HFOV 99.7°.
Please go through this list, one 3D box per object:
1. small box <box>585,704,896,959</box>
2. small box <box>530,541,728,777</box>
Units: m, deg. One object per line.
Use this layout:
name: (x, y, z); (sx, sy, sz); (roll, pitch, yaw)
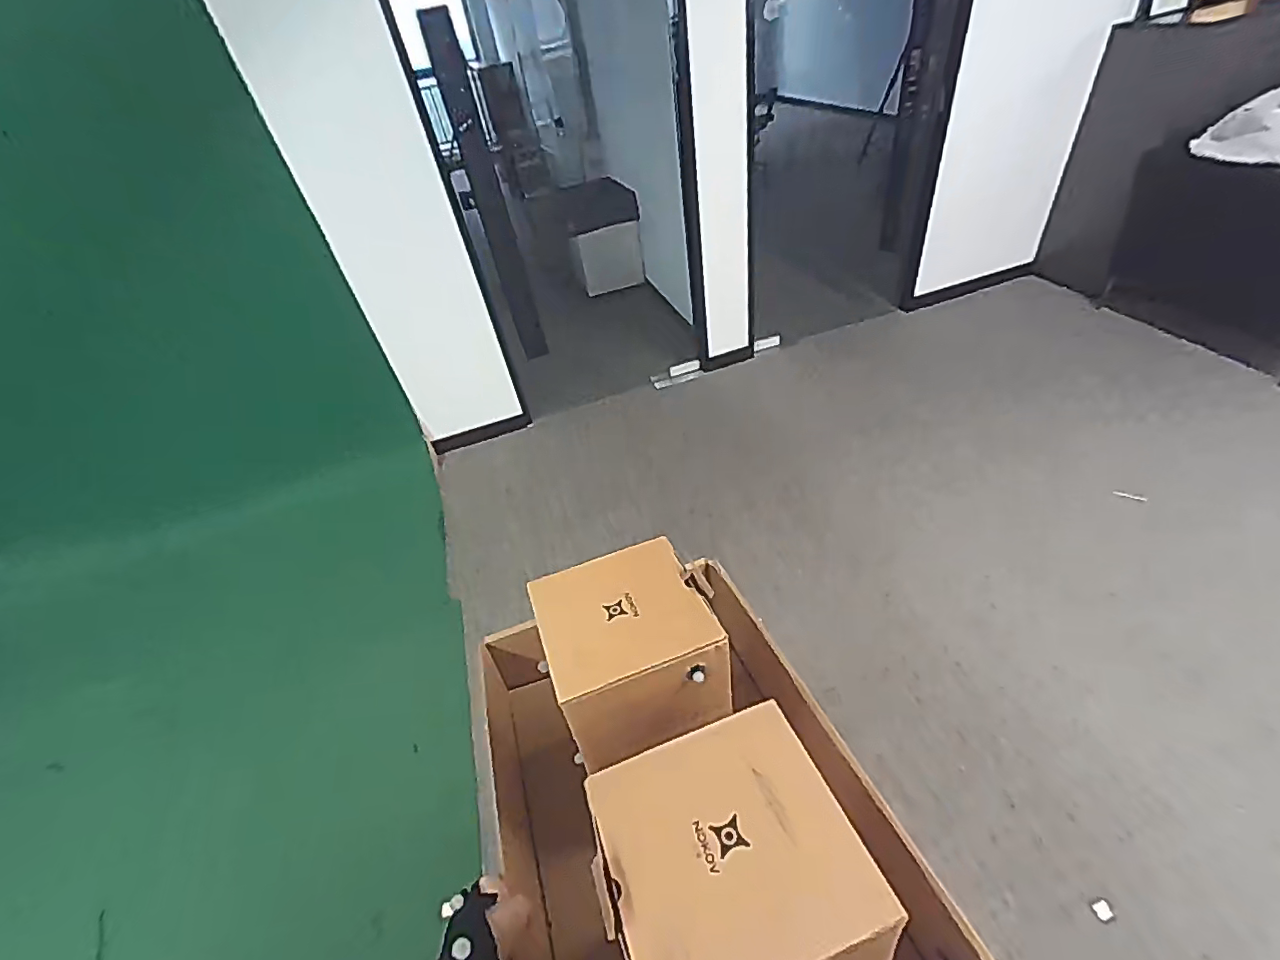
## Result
small box: (0.072, 0.325, 0.436); (0.179, 0.176, 0.168); (-18, 36, -11)
small box: (-0.010, 0.205, 0.622); (0.179, 0.176, 0.168); (-17, 37, -12)
